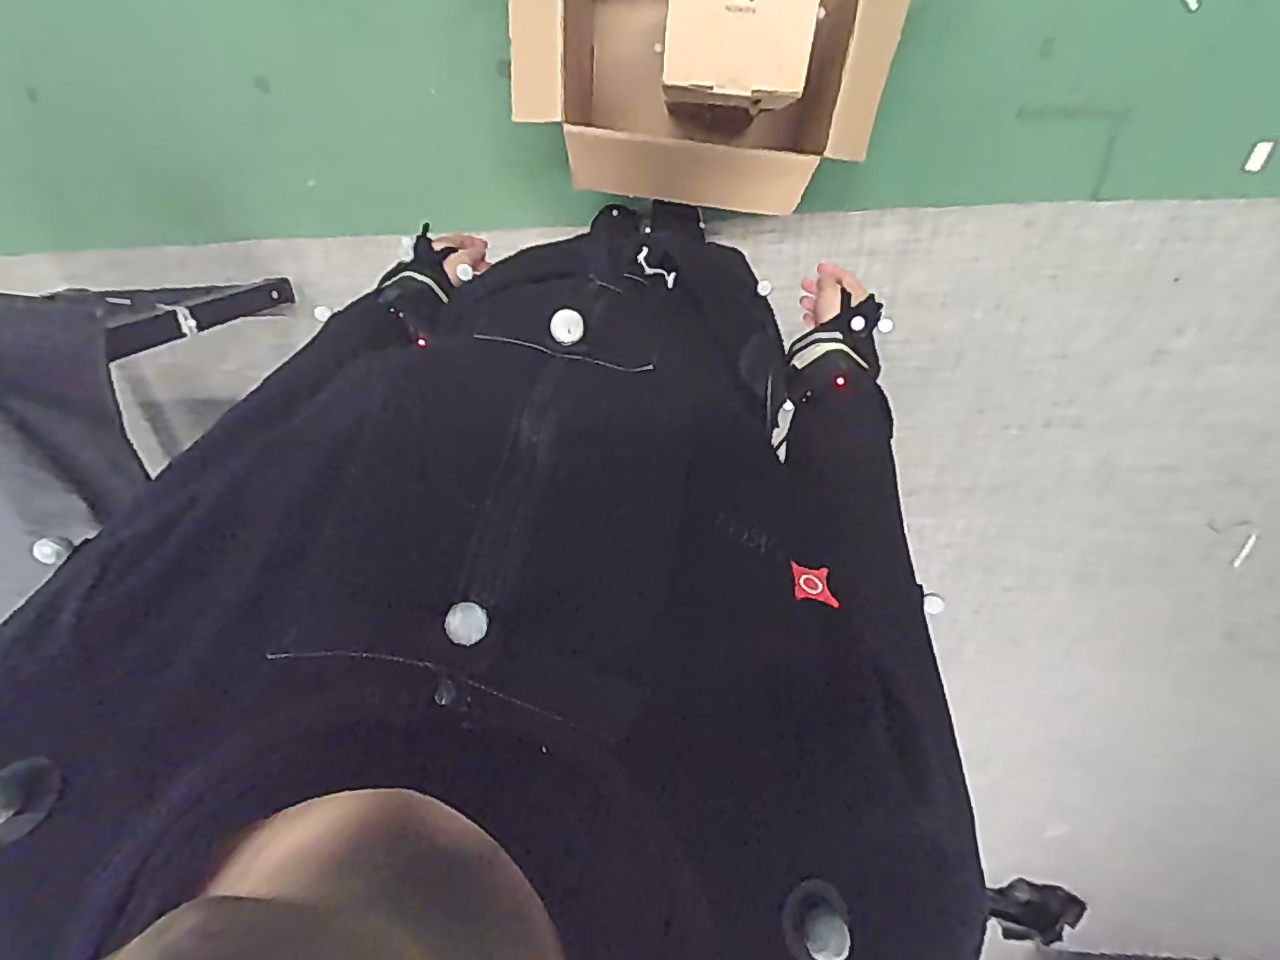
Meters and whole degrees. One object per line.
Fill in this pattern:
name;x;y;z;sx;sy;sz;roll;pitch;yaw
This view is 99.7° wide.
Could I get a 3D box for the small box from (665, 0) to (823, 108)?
small box;0.121;-0.562;0.648;0.168;0.176;0.179;5;119;1
